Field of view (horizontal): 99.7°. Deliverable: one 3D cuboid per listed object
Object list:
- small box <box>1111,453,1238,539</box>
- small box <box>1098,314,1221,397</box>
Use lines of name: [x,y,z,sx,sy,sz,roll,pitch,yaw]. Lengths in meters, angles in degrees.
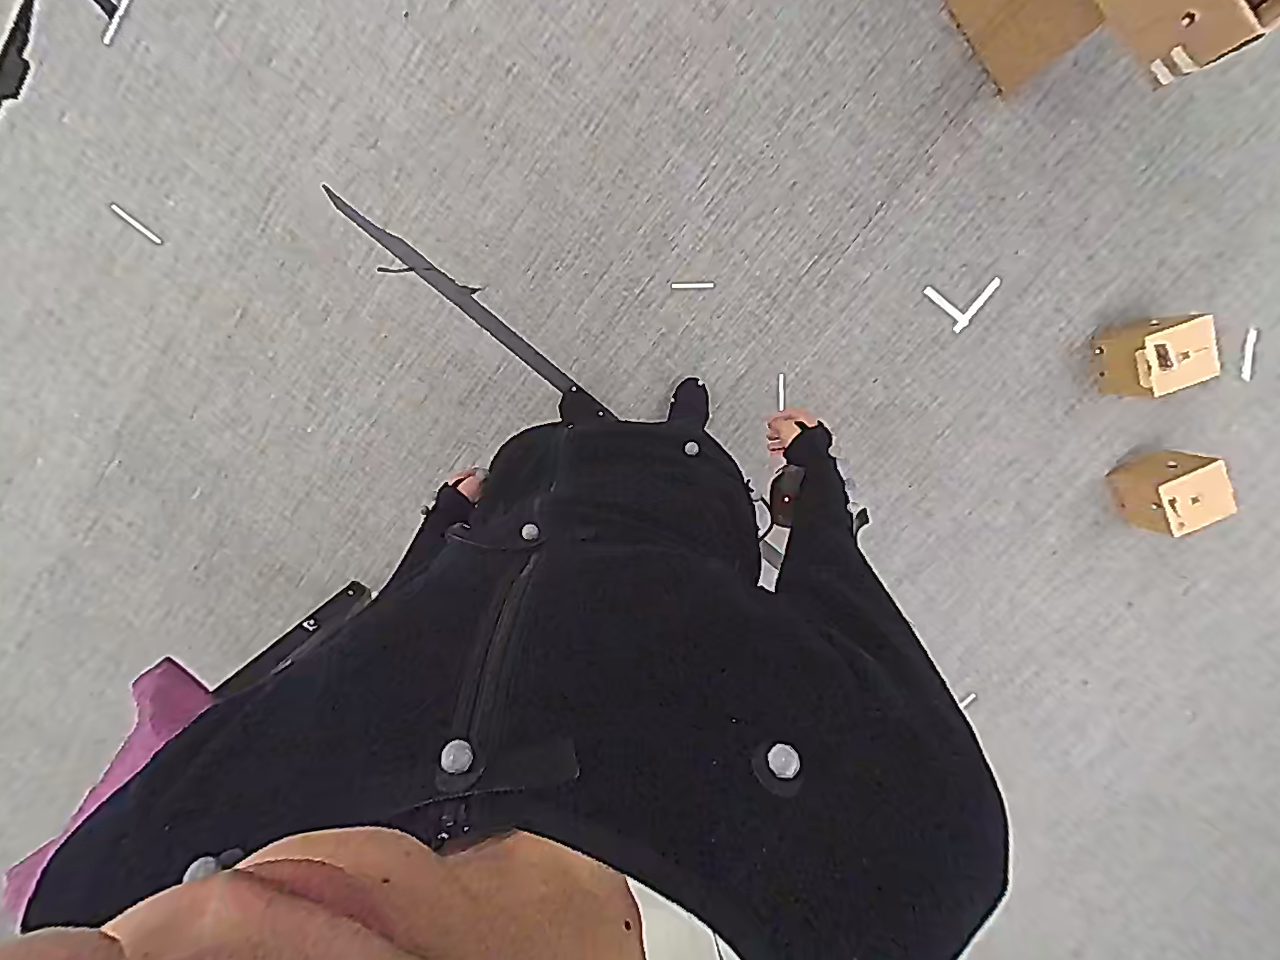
small box: [1.503,0.038,1.529,0.179,0.176,0.168,-26,100,5]
small box: [1.380,-0.330,1.452,0.179,0.176,0.168,-19,101,5]
